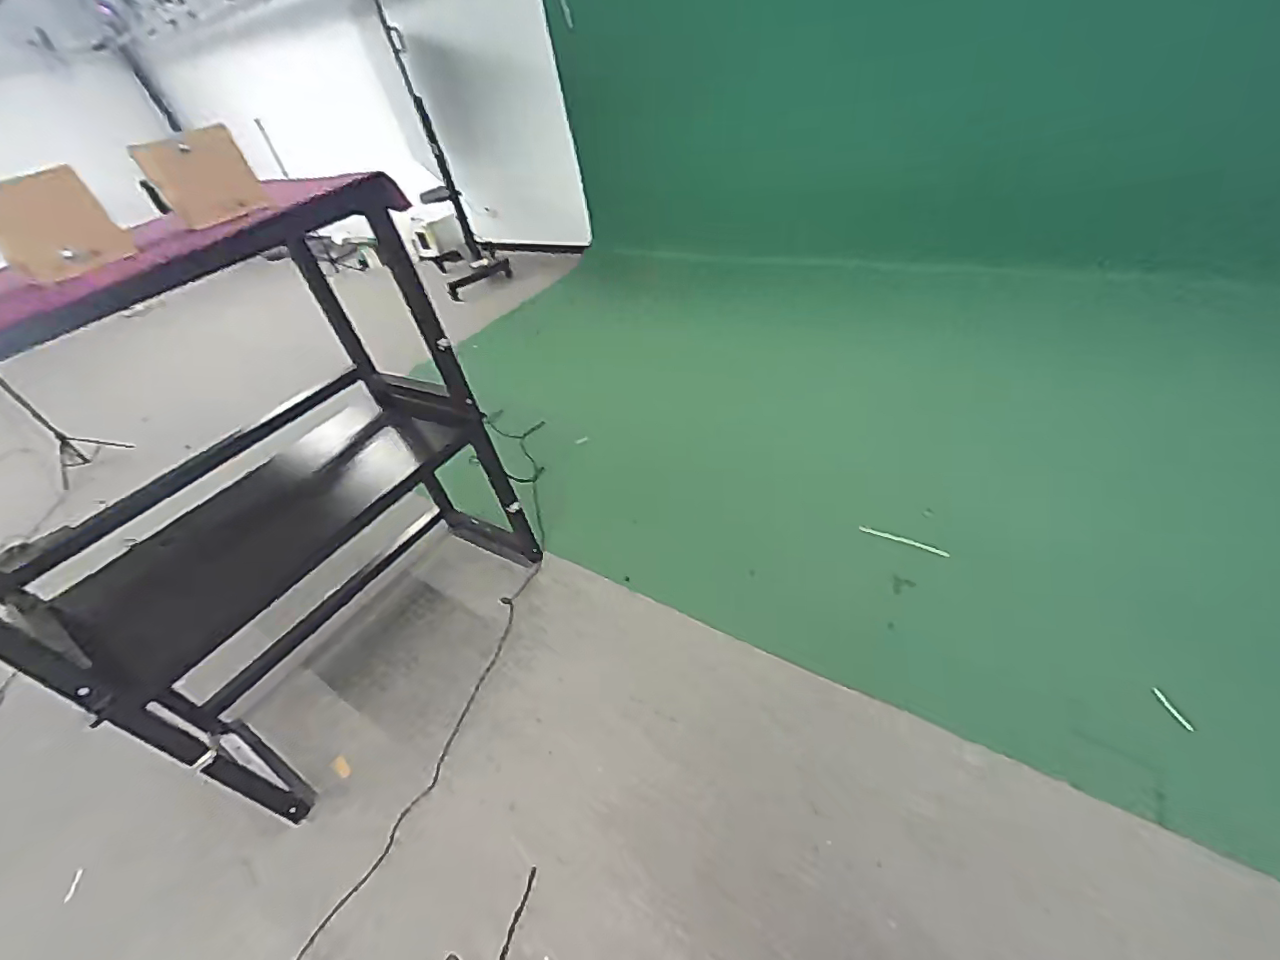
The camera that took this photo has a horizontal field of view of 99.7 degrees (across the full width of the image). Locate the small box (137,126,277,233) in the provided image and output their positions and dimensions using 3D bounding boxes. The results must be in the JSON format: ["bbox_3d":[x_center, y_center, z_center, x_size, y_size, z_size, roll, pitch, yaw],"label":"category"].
[{"bbox_3d":[-0.961,-0.666,1.208,0.179,0.176,0.168,23,53,38],"label":"small box"}]

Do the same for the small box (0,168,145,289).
[{"bbox_3d":[-1.126,-0.483,1.045,0.179,0.176,0.168,19,51,33],"label":"small box"}]
